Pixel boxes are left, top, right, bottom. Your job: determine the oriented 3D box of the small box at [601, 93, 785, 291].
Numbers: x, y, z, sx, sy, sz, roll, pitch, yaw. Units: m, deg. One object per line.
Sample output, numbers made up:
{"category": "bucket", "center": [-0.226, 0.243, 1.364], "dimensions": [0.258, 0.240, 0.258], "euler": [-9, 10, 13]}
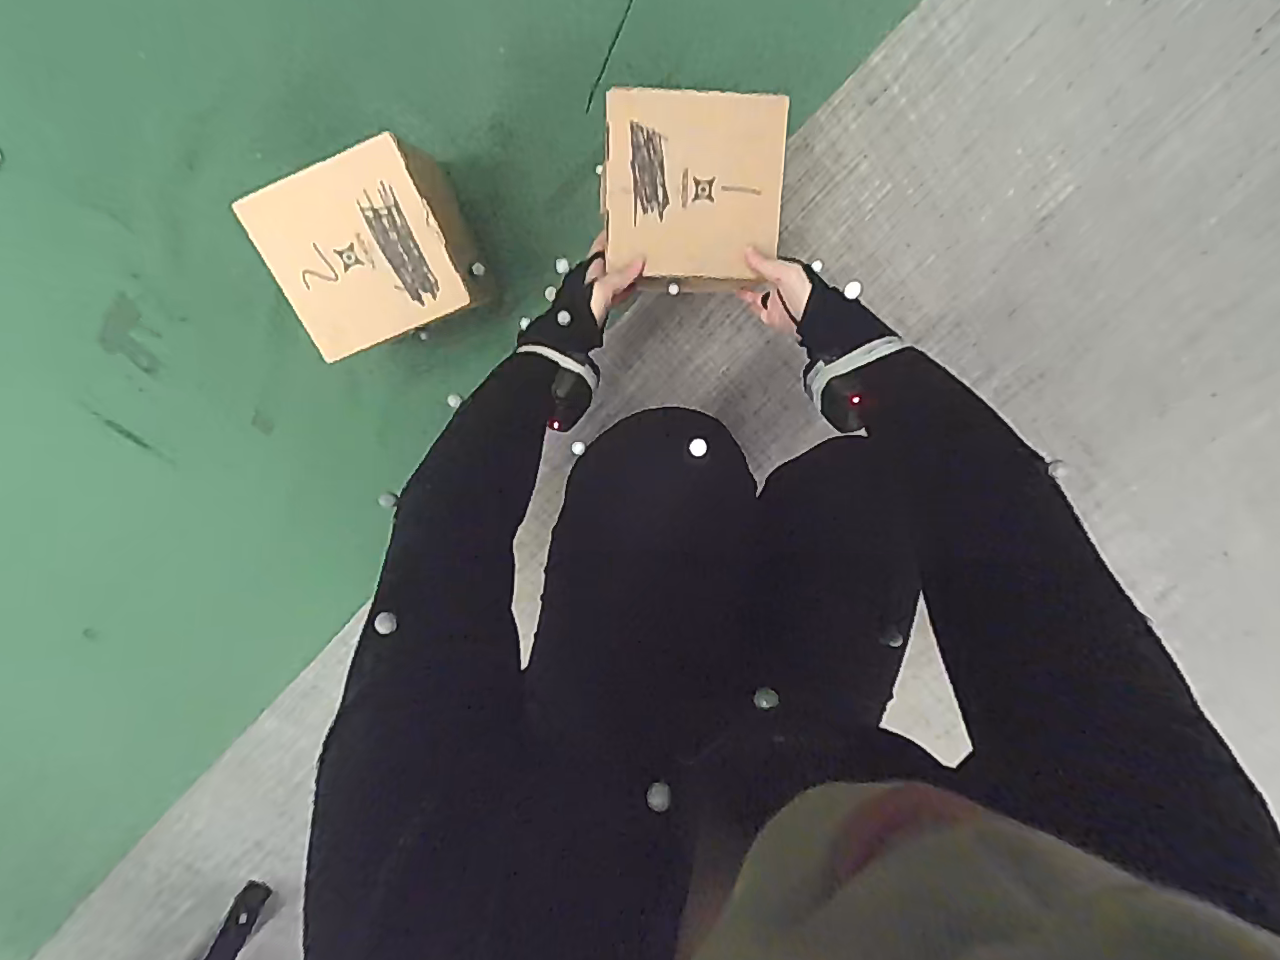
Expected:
{"category": "small box", "center": [0.046, -0.305, 0.609], "dimensions": [0.179, 0.176, 0.168], "euler": [0, 106, -4]}
